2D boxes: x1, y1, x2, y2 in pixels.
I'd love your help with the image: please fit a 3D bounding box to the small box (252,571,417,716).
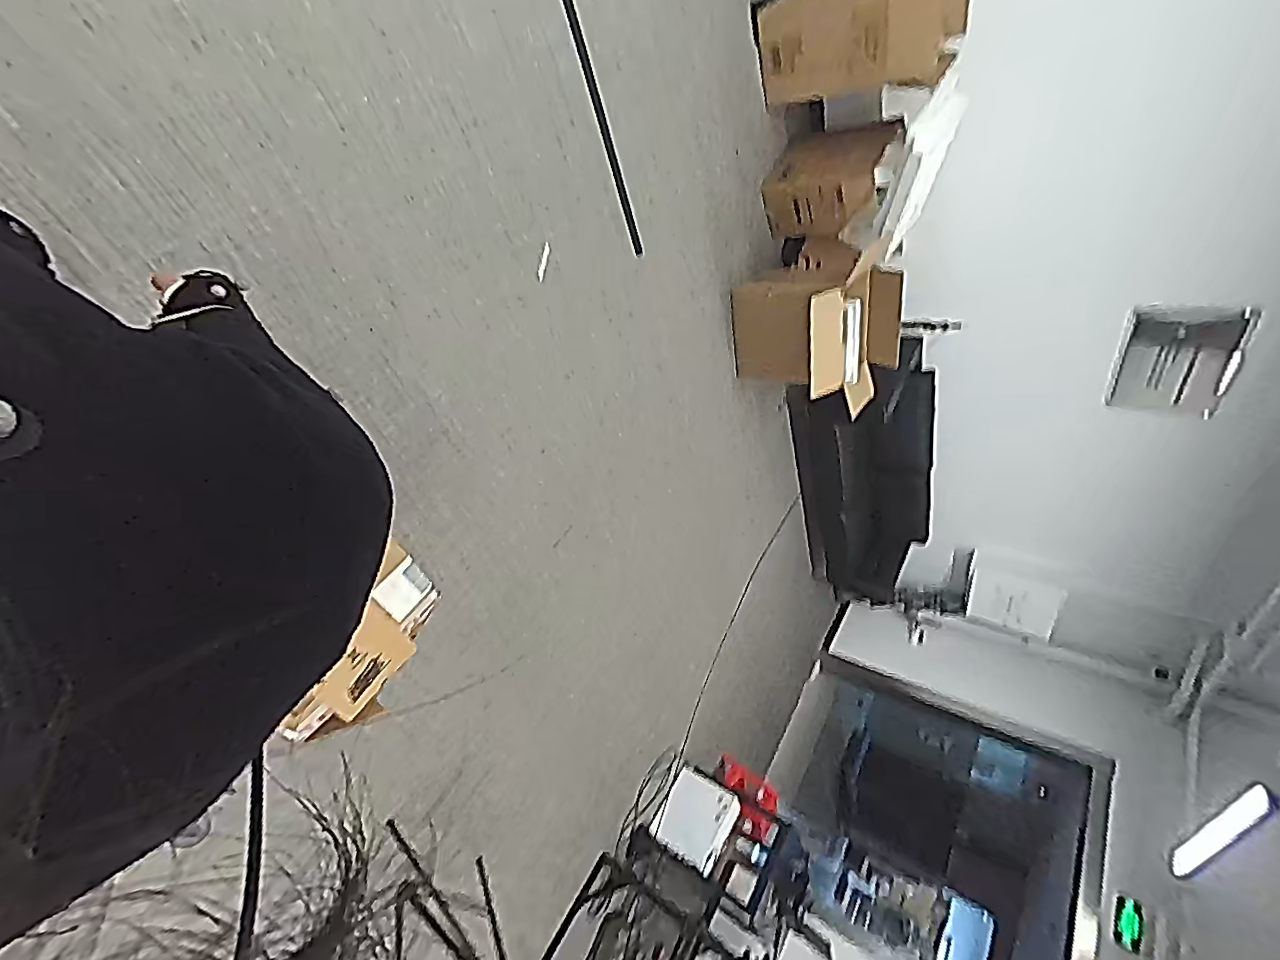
[{"bbox_3d":[-0.560,0.292,0.997,0.168,0.176,0.179,-51,134,-31],"label":"small box"}]
